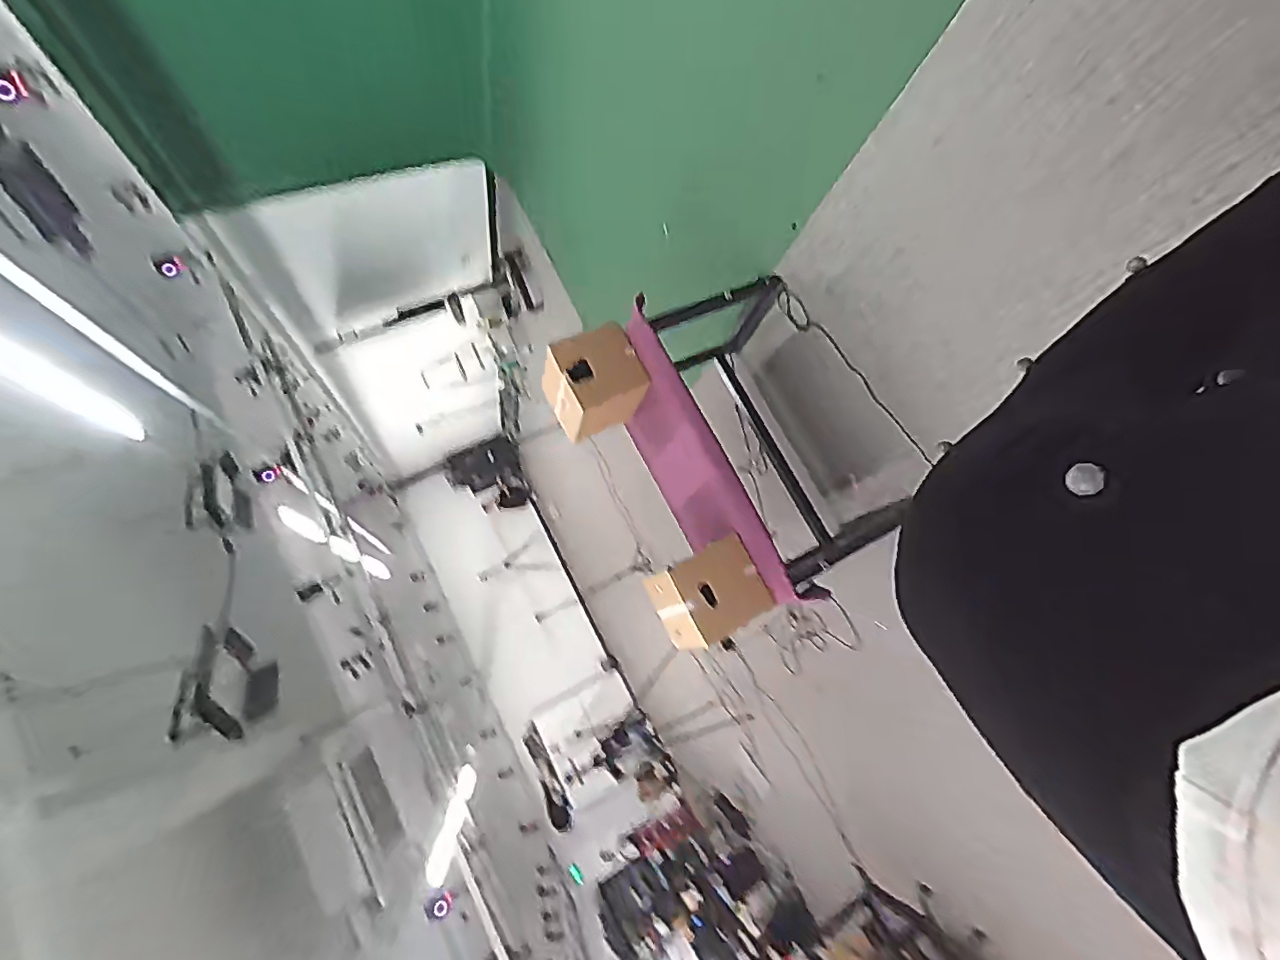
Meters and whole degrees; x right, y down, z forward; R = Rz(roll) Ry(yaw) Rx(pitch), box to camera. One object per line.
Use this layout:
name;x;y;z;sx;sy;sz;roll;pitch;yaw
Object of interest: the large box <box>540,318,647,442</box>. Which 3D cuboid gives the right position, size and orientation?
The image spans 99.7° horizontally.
large box;-0.209;-0.413;2.288;0.320;0.320;0.408;61;160;7
